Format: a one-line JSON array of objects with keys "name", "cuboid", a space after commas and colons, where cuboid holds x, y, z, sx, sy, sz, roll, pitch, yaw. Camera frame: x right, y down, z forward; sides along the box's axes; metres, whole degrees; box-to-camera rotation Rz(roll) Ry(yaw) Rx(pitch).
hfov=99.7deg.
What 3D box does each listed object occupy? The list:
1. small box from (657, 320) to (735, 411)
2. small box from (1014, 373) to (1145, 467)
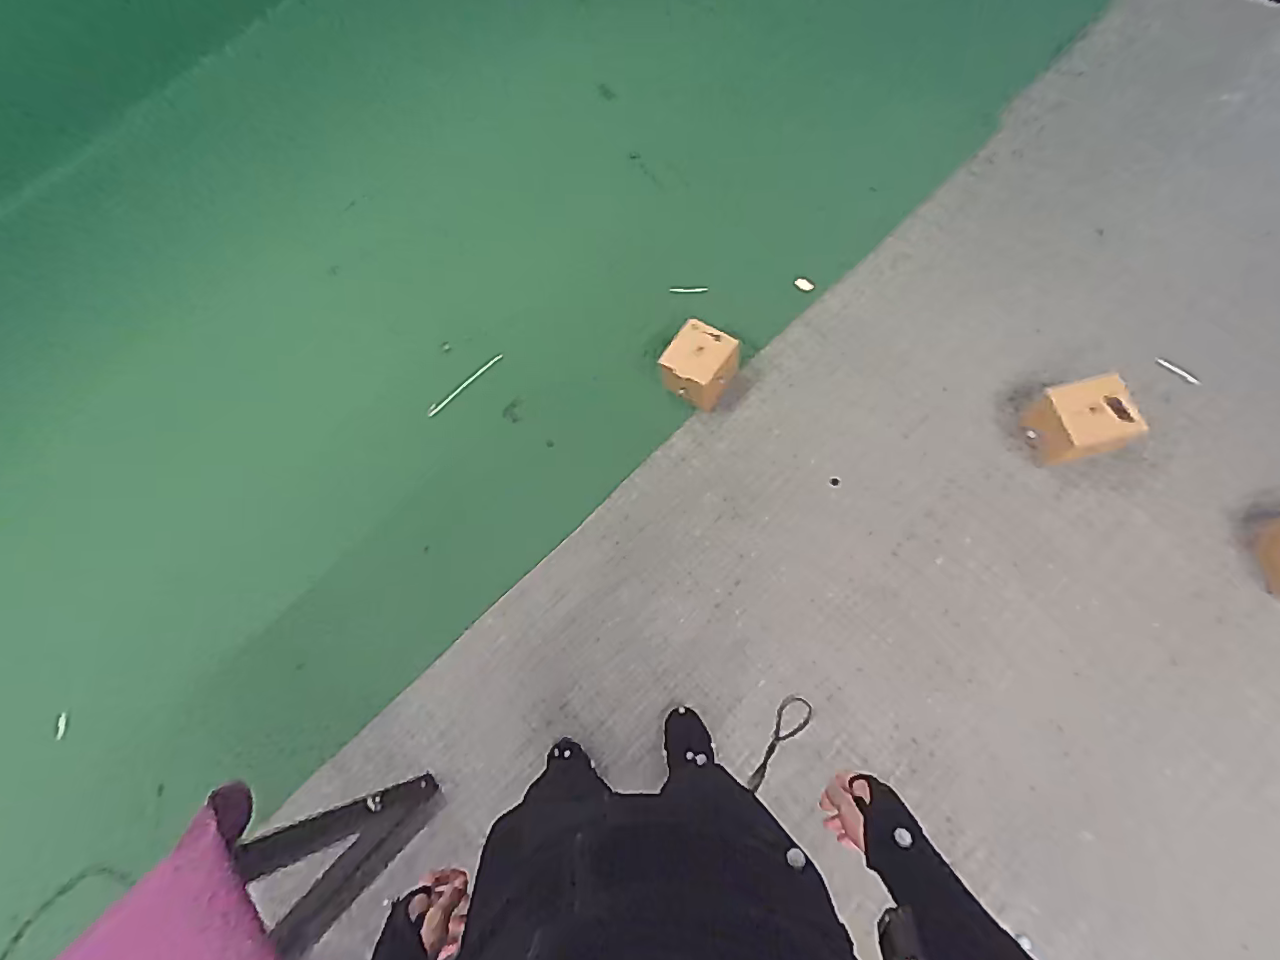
[{"name": "small box", "cuboid": [0.174, -0.339, 1.630, 0.168, 0.176, 0.179, 33, 79, 18]}, {"name": "small box", "cuboid": [1.129, -0.150, 1.406, 0.179, 0.176, 0.168, -14, 69, 5]}]
